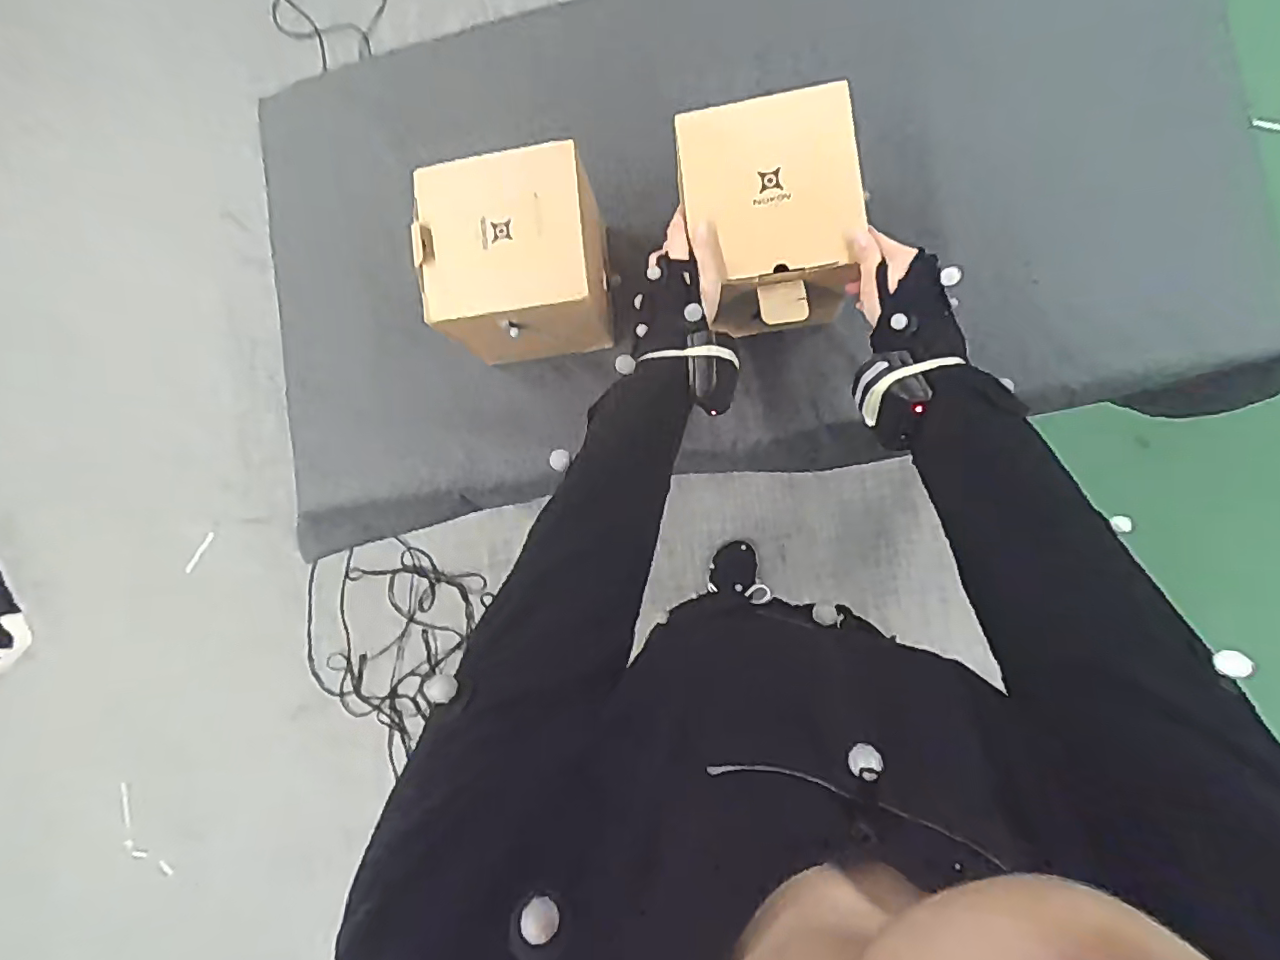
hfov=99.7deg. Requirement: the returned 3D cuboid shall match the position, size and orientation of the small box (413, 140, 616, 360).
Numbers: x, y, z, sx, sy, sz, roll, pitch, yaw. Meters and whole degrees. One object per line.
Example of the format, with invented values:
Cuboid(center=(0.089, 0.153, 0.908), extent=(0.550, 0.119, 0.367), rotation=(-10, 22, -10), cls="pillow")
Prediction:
Cuboid(center=(-0.133, -0.246, 0.623), extent=(0.179, 0.176, 0.168), rotation=(-6, 86, 7), cls="small box")
